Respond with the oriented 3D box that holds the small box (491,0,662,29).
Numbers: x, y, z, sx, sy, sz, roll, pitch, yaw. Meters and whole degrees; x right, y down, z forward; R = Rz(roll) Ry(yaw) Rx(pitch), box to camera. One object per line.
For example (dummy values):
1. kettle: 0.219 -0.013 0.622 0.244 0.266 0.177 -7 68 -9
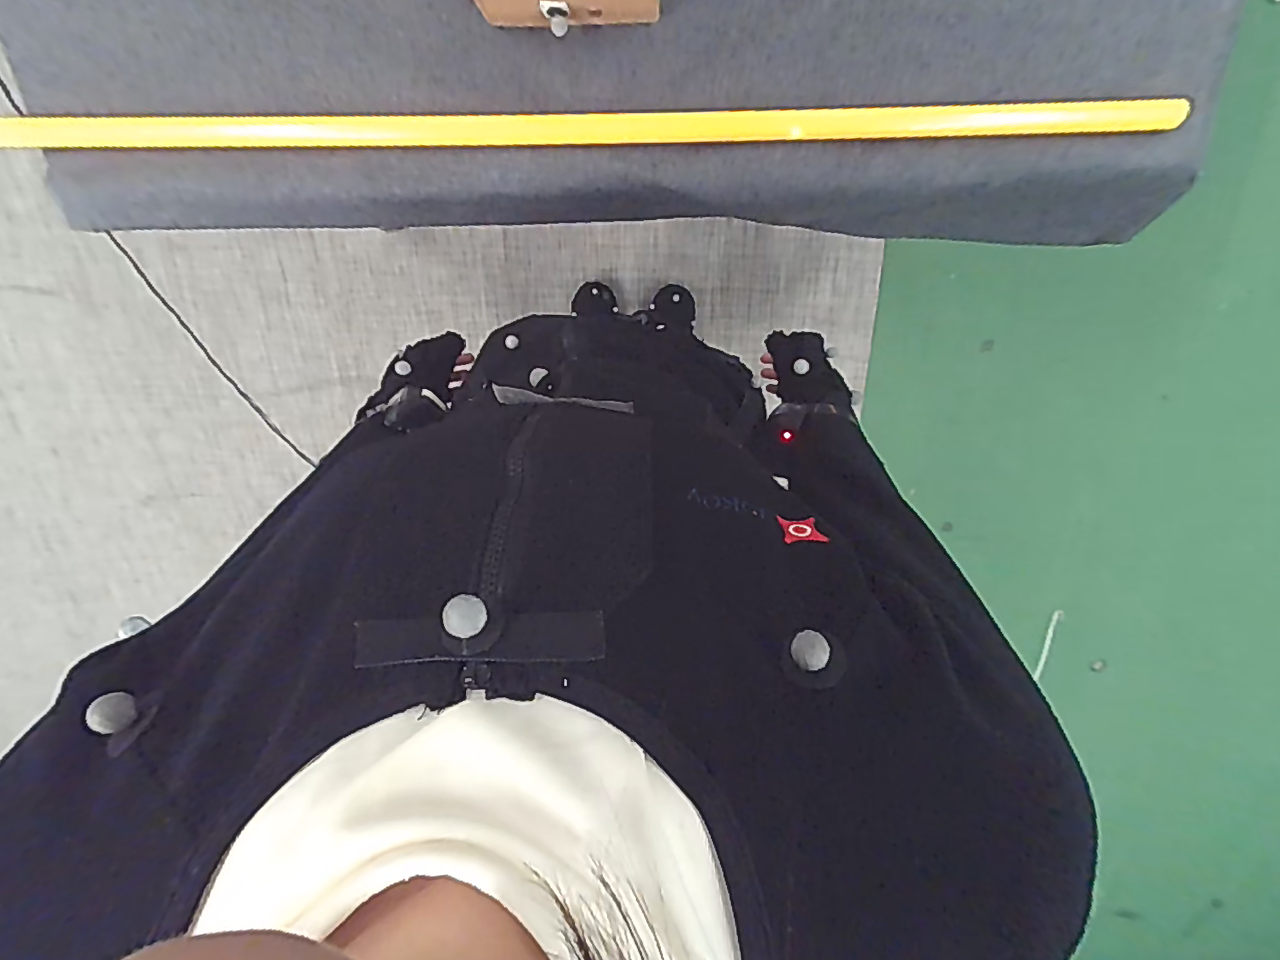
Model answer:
1. small box: -0.065 -0.500 0.427 0.168 0.176 0.179 -1 112 3
